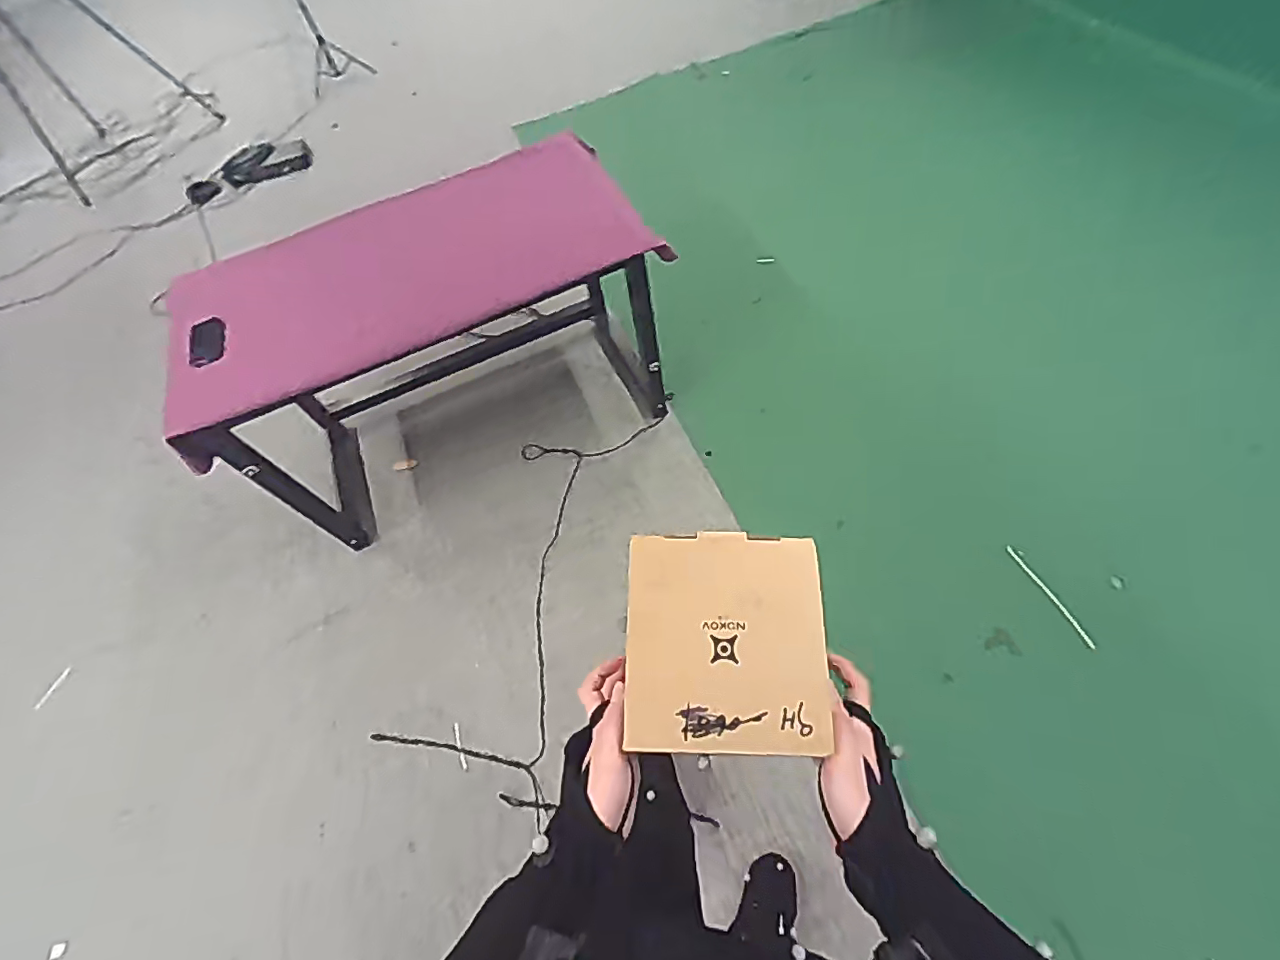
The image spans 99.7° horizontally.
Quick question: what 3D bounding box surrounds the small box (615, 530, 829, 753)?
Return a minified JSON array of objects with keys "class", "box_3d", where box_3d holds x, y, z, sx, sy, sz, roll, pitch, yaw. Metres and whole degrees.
[{"class":"small box","box_3d":[0.066,0.156,0.515,0.168,0.176,0.179,0,68,3]}]
